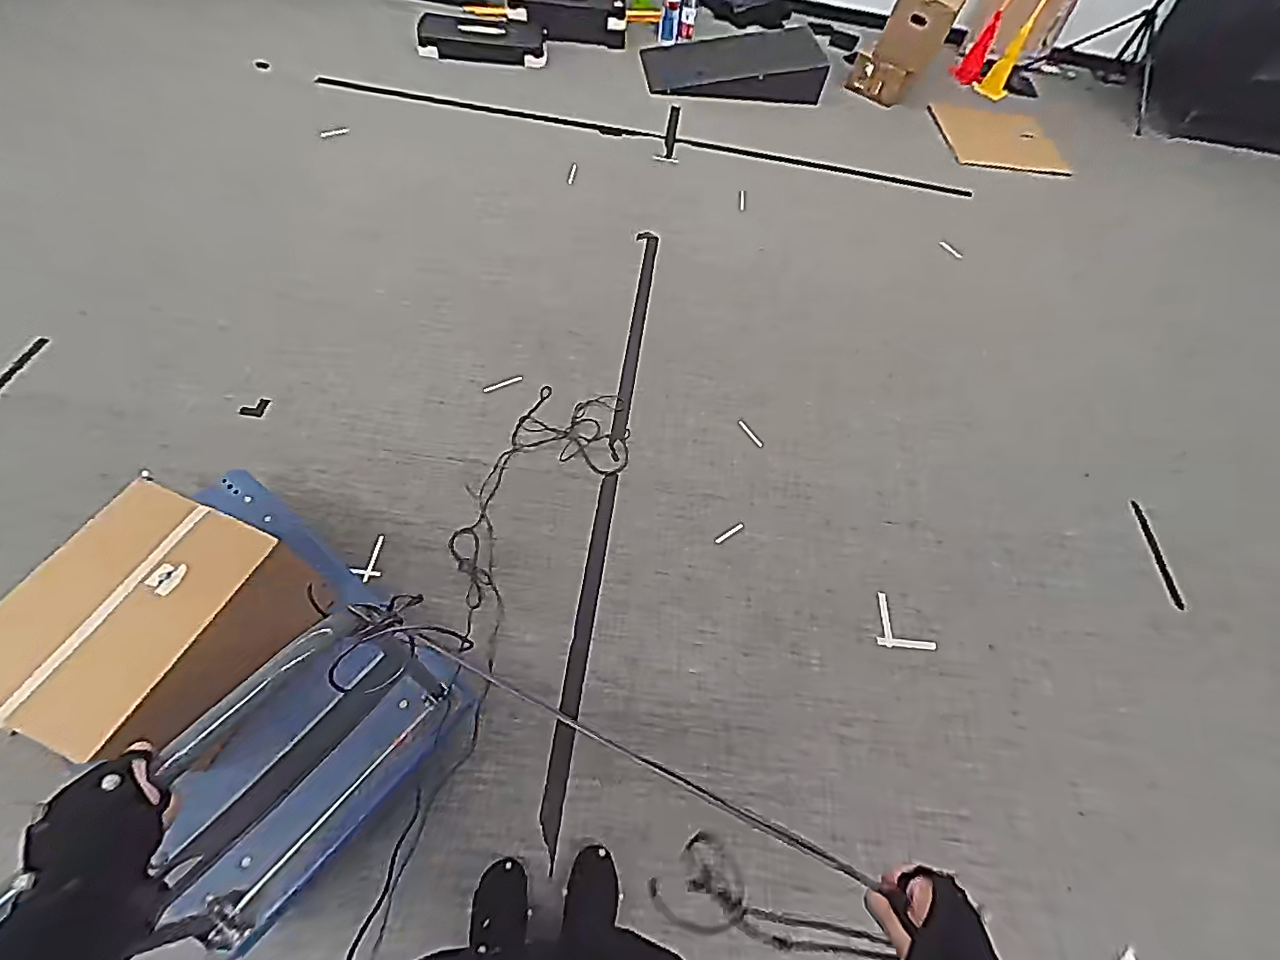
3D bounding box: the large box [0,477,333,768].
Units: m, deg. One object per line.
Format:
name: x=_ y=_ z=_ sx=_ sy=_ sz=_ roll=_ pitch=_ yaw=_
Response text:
large box: x=-0.898 y=0.279 z=1.040 sx=0.320 sy=0.320 sz=0.408 roll=23 pitch=59 yaw=5
